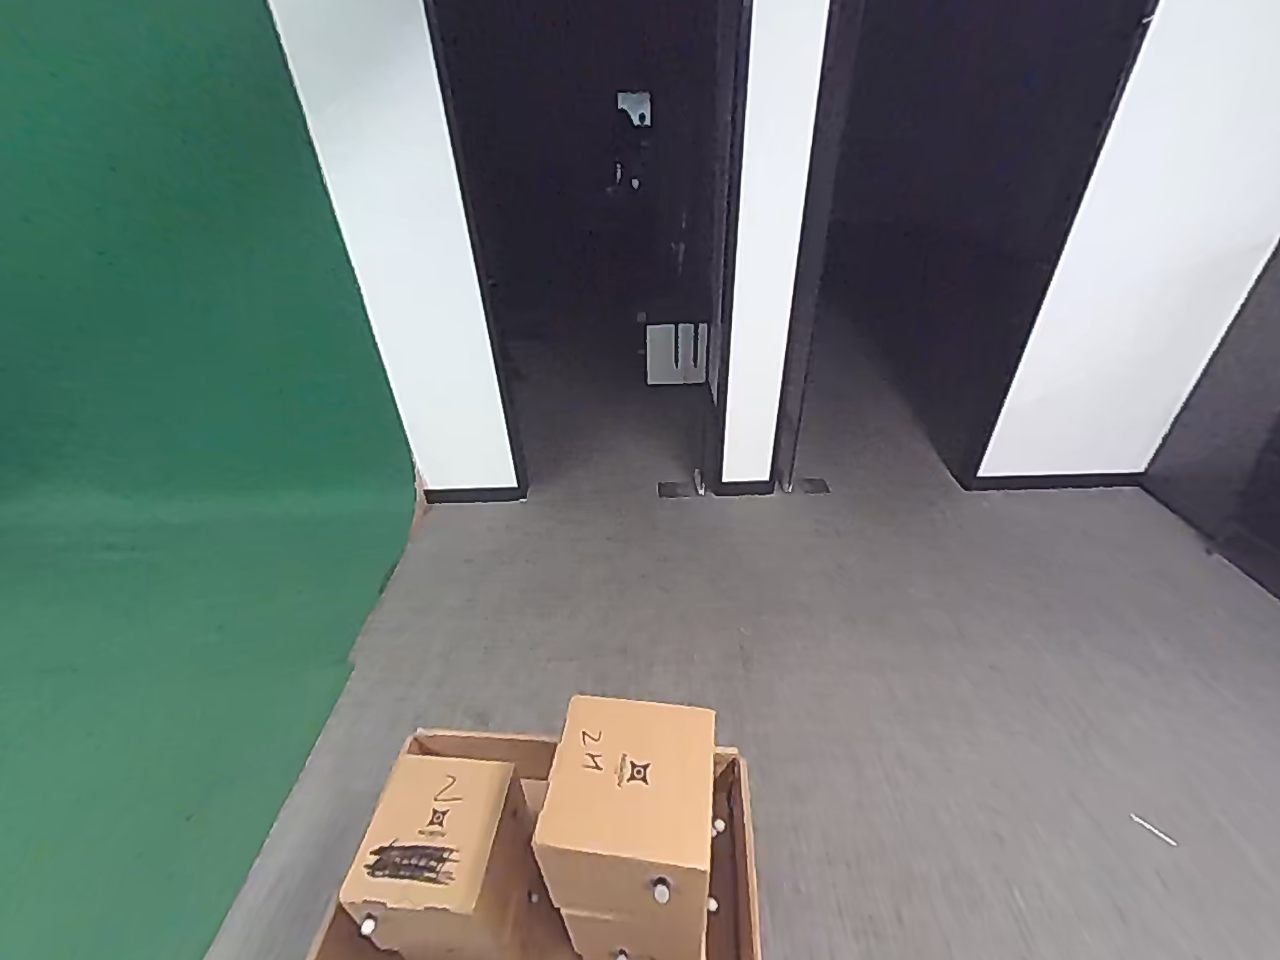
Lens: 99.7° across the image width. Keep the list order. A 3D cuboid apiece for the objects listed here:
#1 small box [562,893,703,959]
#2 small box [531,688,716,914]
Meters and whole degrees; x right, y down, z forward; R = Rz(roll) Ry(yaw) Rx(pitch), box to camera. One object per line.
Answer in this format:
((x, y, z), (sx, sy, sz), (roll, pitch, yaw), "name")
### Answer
((0.003, 0.503, 0.727), (0.168, 0.176, 0.179), (2, 36, 8), "small box")
((-0.005, 0.371, 0.628), (0.179, 0.176, 0.168), (2, 35, 10), "small box")
